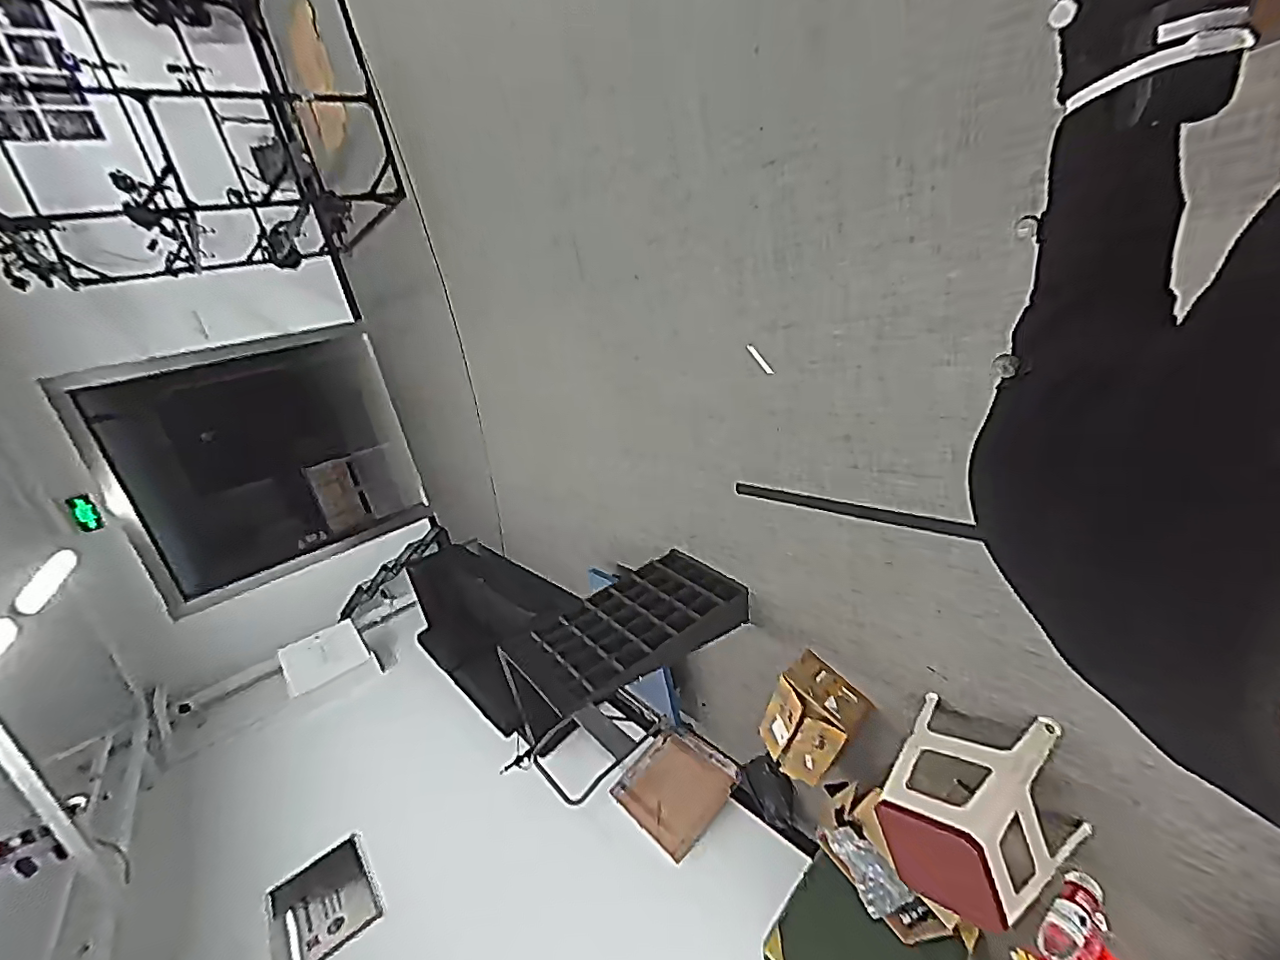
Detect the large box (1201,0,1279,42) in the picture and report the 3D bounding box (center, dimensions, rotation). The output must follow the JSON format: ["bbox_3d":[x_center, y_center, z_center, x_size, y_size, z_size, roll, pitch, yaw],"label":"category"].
[{"bbox_3d":[0.546,-0.494,0.241,0.408,0.320,0.320,6,116,50],"label":"large box"}]
